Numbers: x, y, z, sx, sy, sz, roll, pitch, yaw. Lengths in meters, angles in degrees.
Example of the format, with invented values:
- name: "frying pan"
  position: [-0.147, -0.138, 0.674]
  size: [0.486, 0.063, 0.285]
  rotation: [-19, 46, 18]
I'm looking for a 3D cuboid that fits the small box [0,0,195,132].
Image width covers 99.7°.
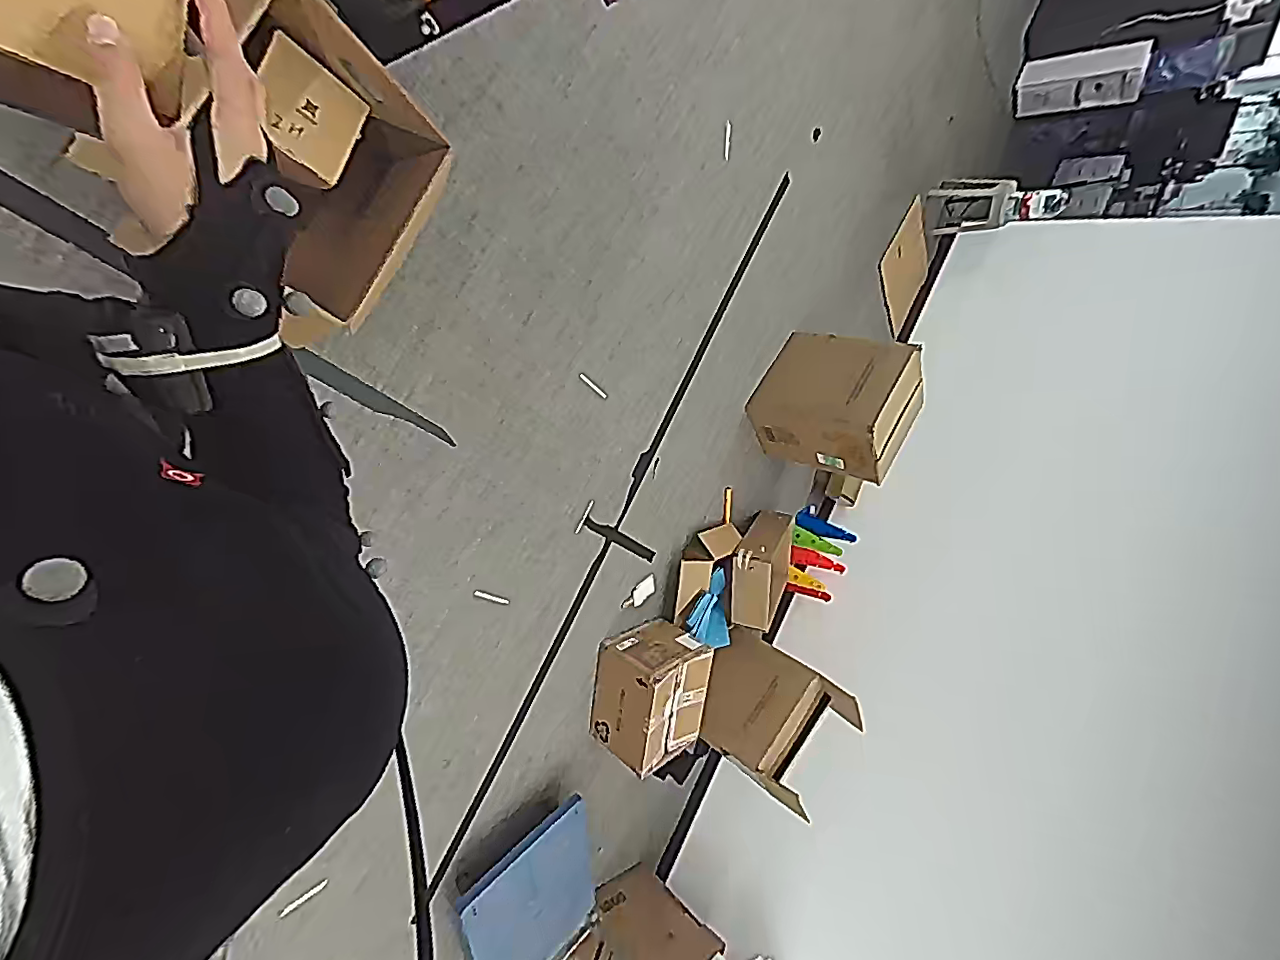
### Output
- name: "small box"
  position: [-0.336, -0.295, 0.257]
  size: [0.179, 0.176, 0.168]
  rotation: [3, 105, -48]
